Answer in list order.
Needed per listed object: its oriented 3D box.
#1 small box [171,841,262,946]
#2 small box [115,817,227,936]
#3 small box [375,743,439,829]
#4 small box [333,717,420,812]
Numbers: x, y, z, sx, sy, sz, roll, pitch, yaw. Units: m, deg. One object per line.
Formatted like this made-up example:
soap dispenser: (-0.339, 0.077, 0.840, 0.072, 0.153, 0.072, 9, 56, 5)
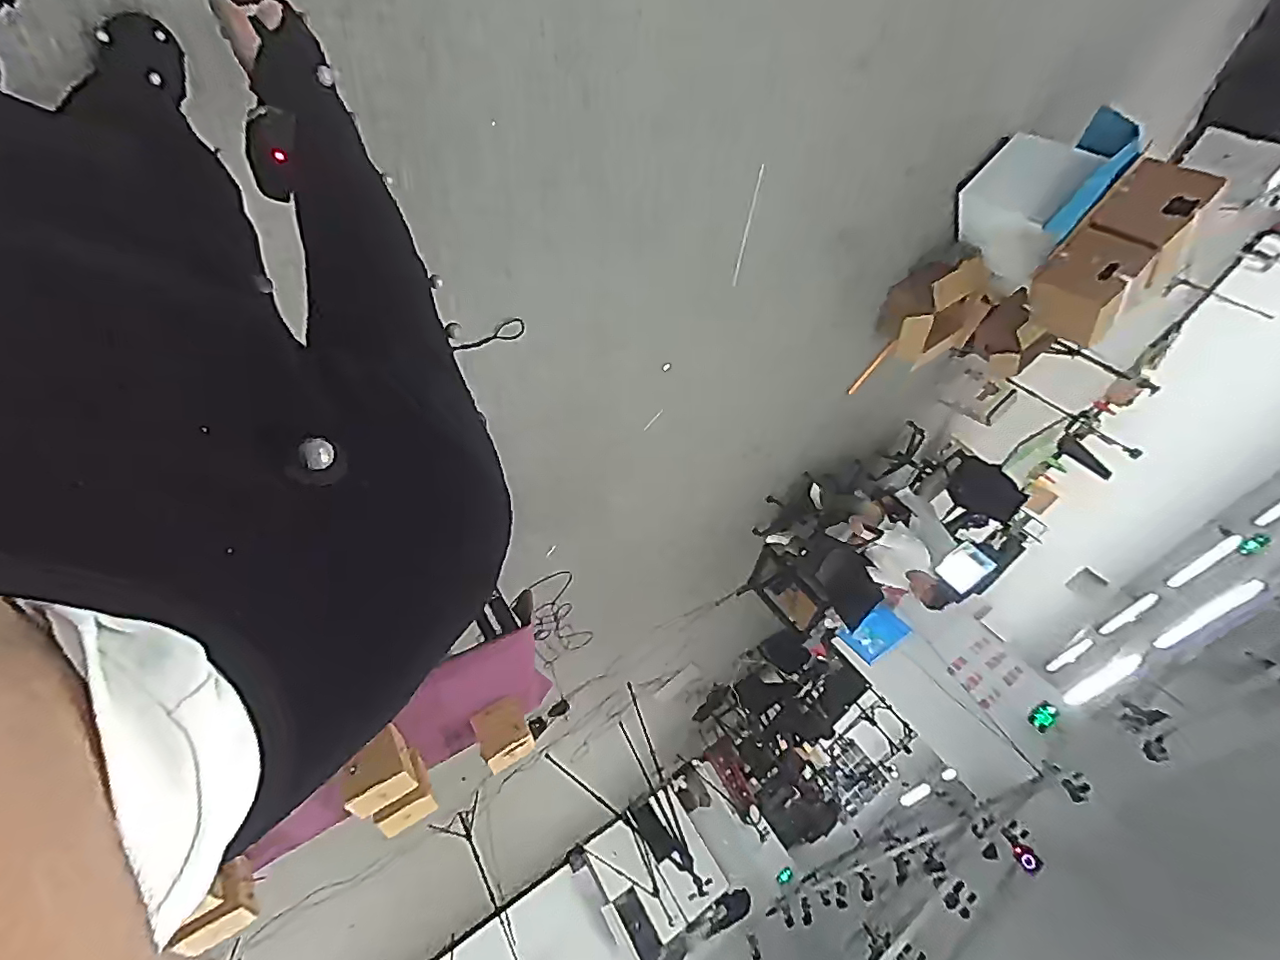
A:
small box: (-1.216, 1.181, 1.553, 0.168, 0.176, 0.179, -20, 142, -31)
small box: (-1.175, 0.988, 1.358, 0.168, 0.176, 0.179, -19, 143, -31)
small box: (-0.787, 1.009, 1.792, 0.168, 0.176, 0.179, -22, 143, -26)
small box: (-0.771, 0.825, 1.582, 0.168, 0.176, 0.179, -23, 146, -24)
